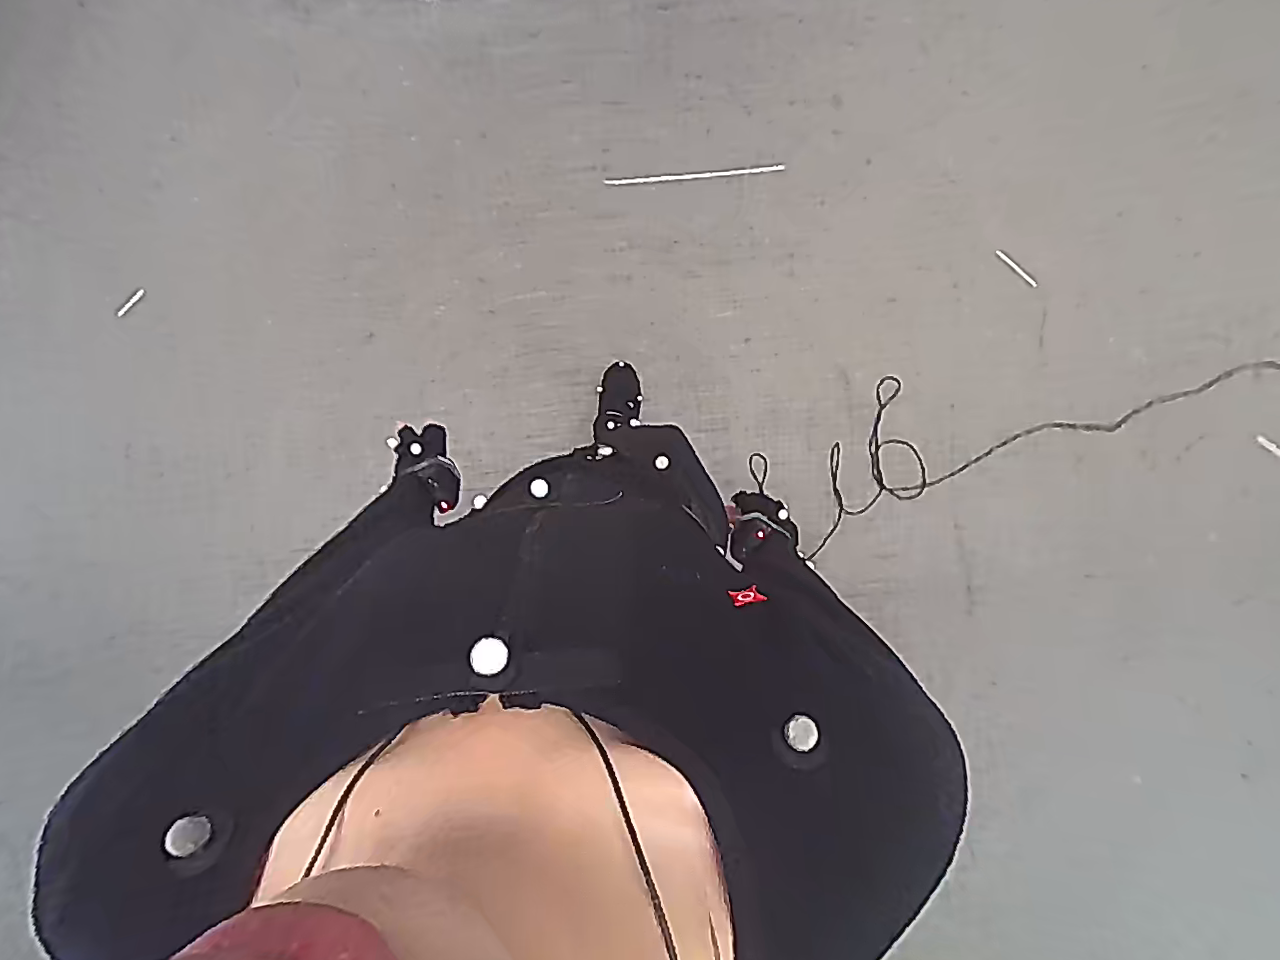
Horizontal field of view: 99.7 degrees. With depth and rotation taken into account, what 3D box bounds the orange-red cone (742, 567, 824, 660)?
[{"bbox_3d":[0.385,0.360,1.347,0.198,0.360,0.199,1,96,0],"label":"orange-red cone"}]
